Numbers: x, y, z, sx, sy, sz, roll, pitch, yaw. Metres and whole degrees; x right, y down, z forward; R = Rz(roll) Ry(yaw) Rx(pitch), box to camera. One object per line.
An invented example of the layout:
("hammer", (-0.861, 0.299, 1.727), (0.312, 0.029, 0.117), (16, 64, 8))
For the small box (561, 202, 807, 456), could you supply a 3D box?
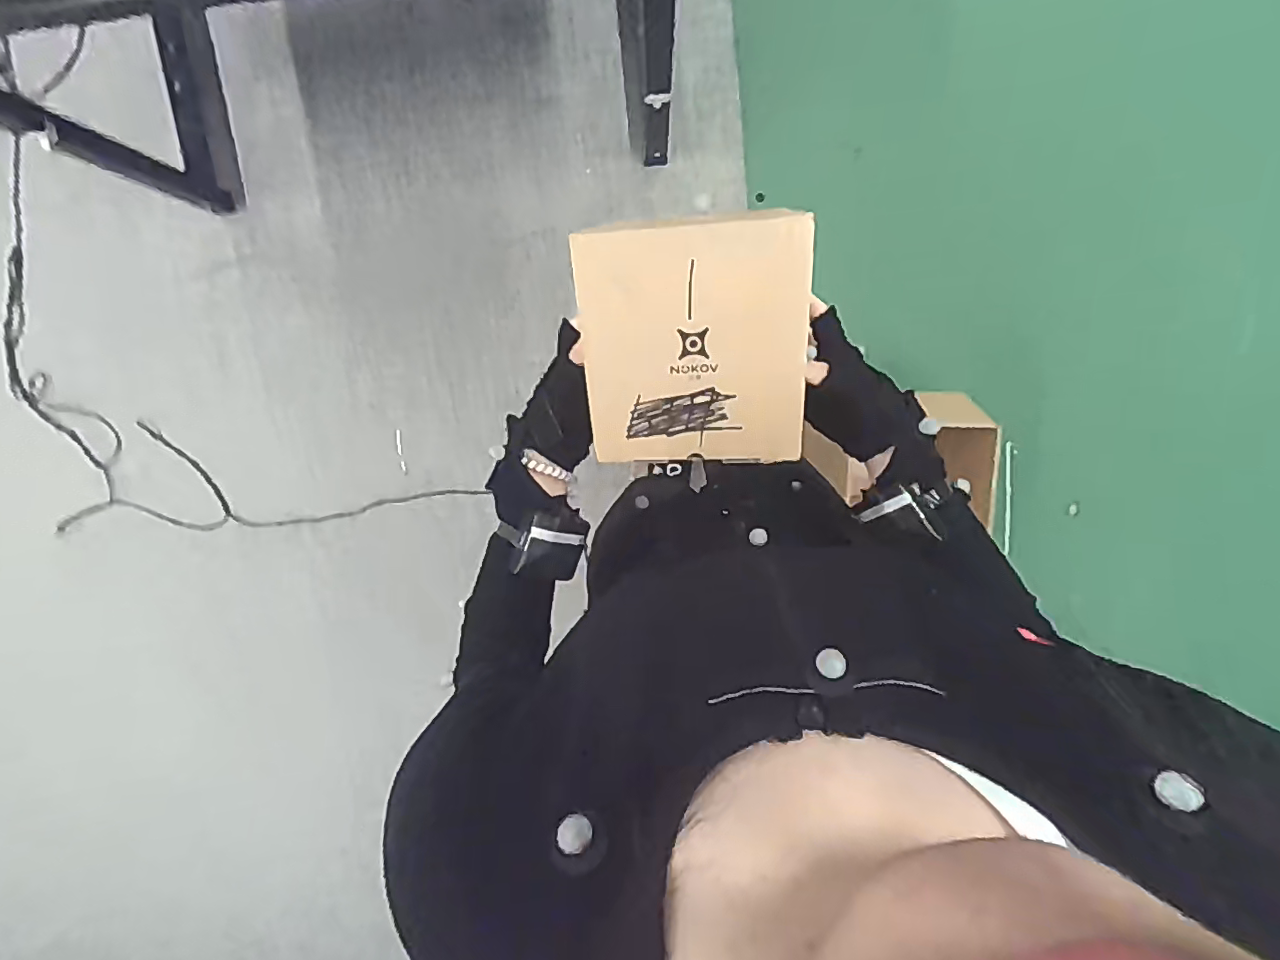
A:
("small box", (0.043, -0.134, 0.464), (0.168, 0.176, 0.179), (-1, 117, 8))
